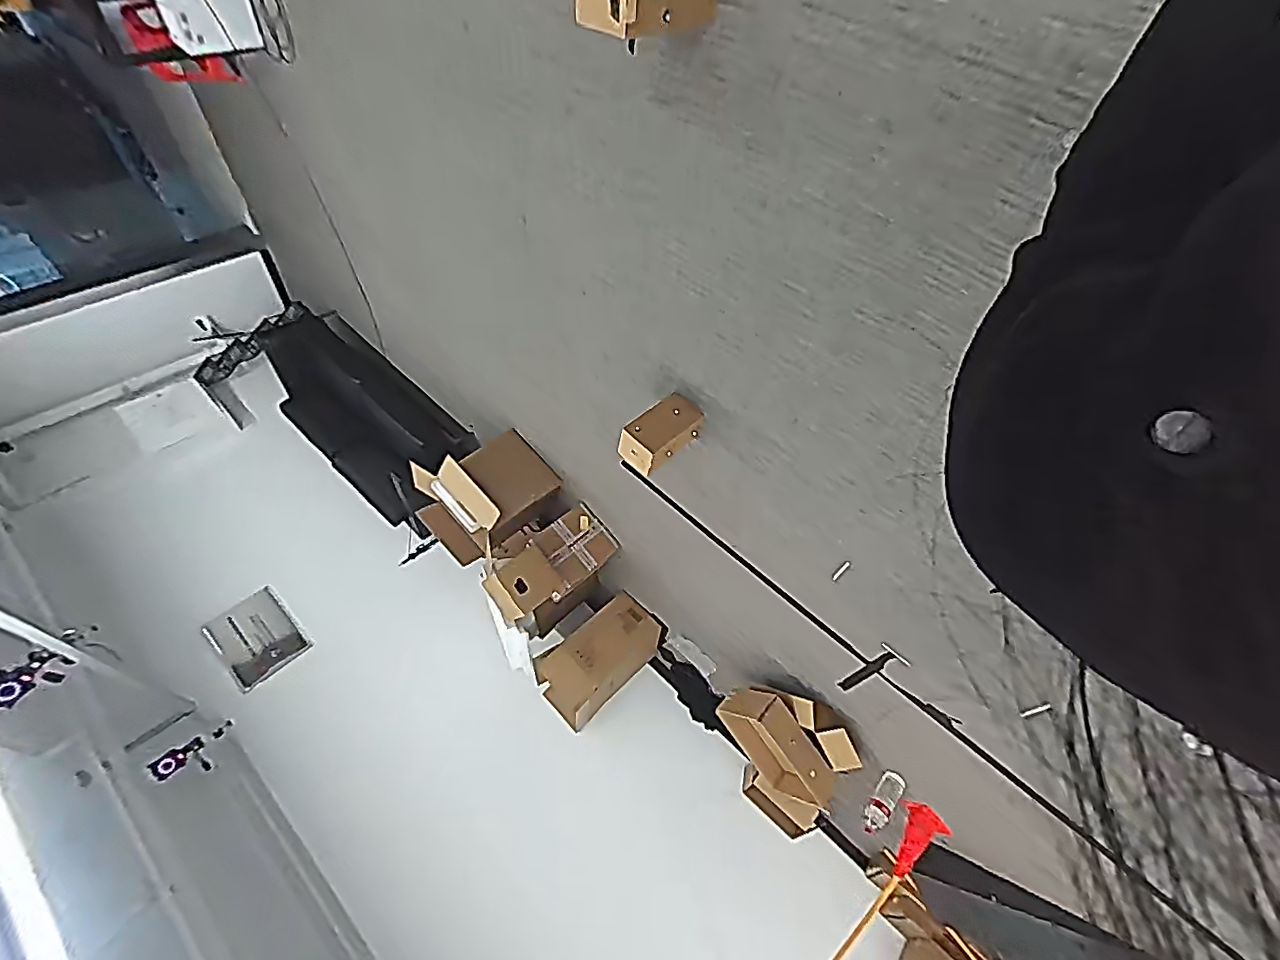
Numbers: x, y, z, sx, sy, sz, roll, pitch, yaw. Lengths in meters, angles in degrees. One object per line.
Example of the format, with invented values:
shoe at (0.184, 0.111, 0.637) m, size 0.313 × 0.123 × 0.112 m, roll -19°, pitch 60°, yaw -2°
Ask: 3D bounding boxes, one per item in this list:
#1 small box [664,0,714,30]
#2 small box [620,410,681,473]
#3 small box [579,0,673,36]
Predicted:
small box at (0.084, -1.265, 1.360) m, size 0.179 × 0.176 × 0.168 m, roll 38°, pitch 147°, yaw 24°
small box at (0.043, -0.169, 2.270) m, size 0.179 × 0.176 × 0.168 m, roll 41°, pitch 149°, yaw 16°
small box at (-0.027, -1.180, 1.273) m, size 0.179 × 0.176 × 0.168 m, roll 38°, pitch 147°, yaw 23°
